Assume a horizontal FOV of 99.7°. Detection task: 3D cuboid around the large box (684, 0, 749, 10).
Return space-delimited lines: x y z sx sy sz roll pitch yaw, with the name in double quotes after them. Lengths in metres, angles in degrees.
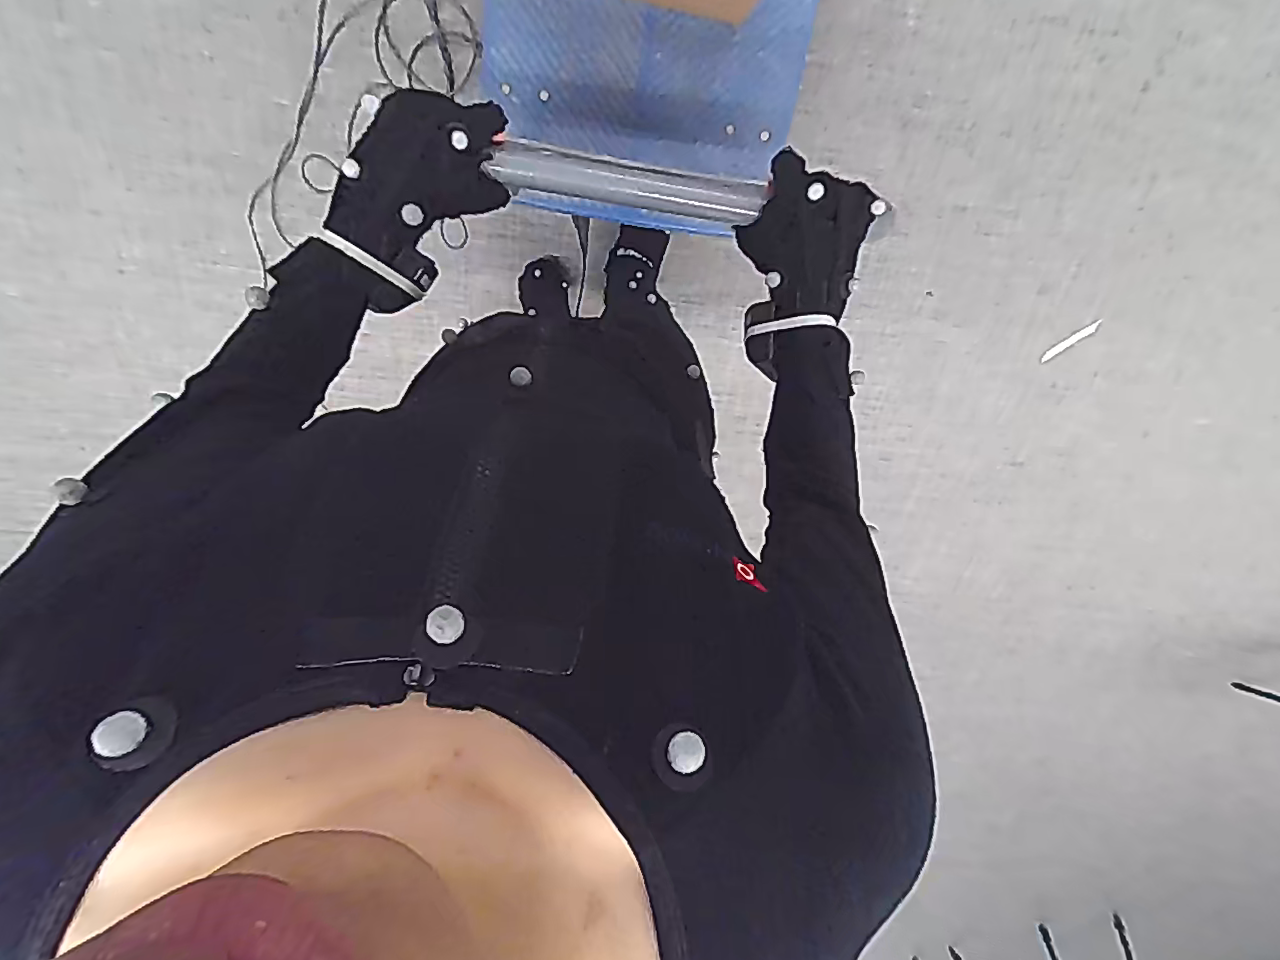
0.013 -0.907 0.734 0.408 0.320 0.320 9 118 -6 "large box"
